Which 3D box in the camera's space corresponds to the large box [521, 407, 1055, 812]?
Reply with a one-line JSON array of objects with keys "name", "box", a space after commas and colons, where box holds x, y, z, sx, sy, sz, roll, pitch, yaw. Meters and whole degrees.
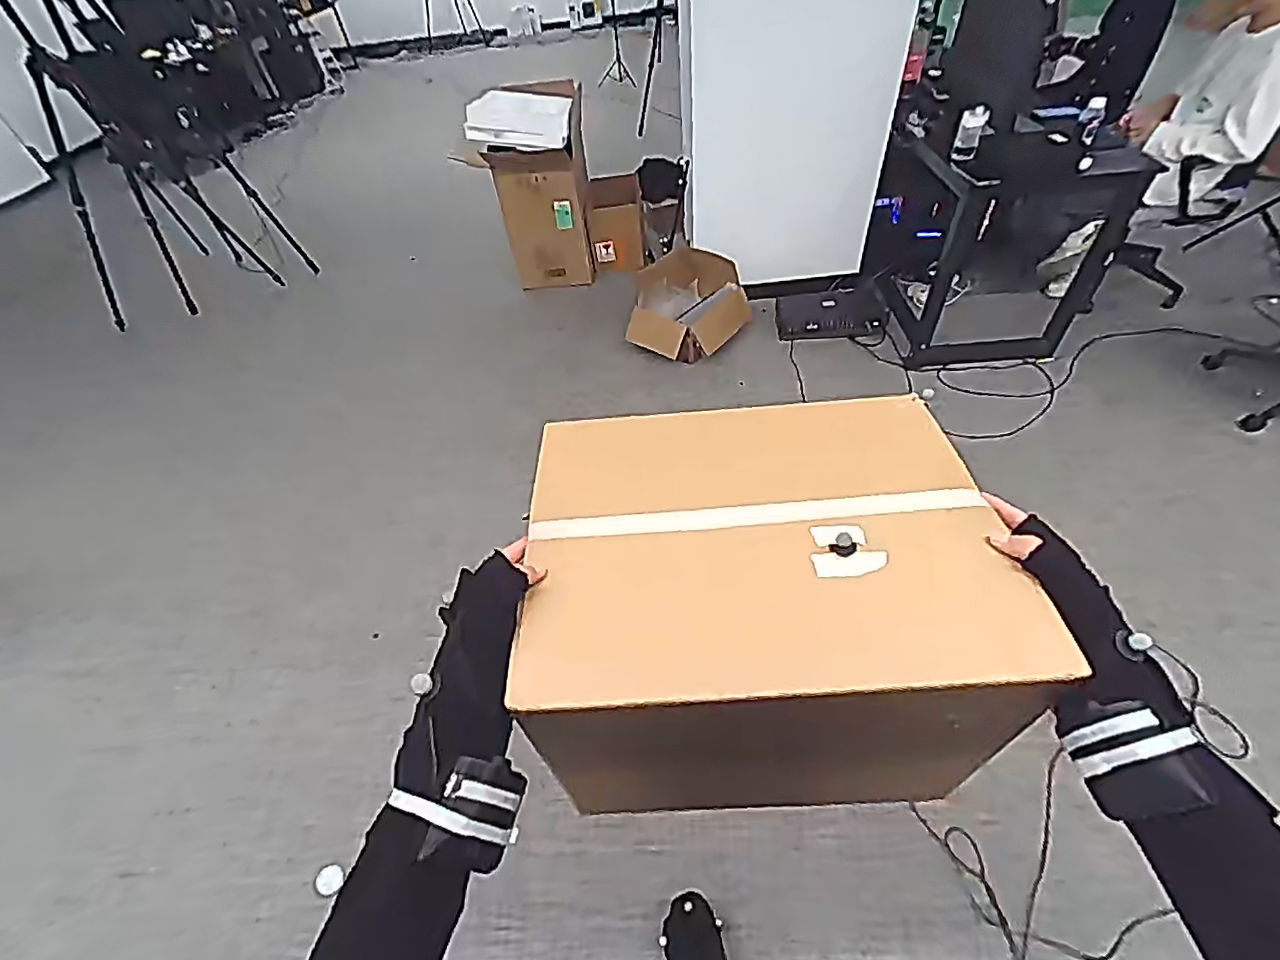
[{"name": "large box", "box": [0.112, 0.148, 0.605, 0.408, 0.320, 0.320, -4, 46, 2]}]
